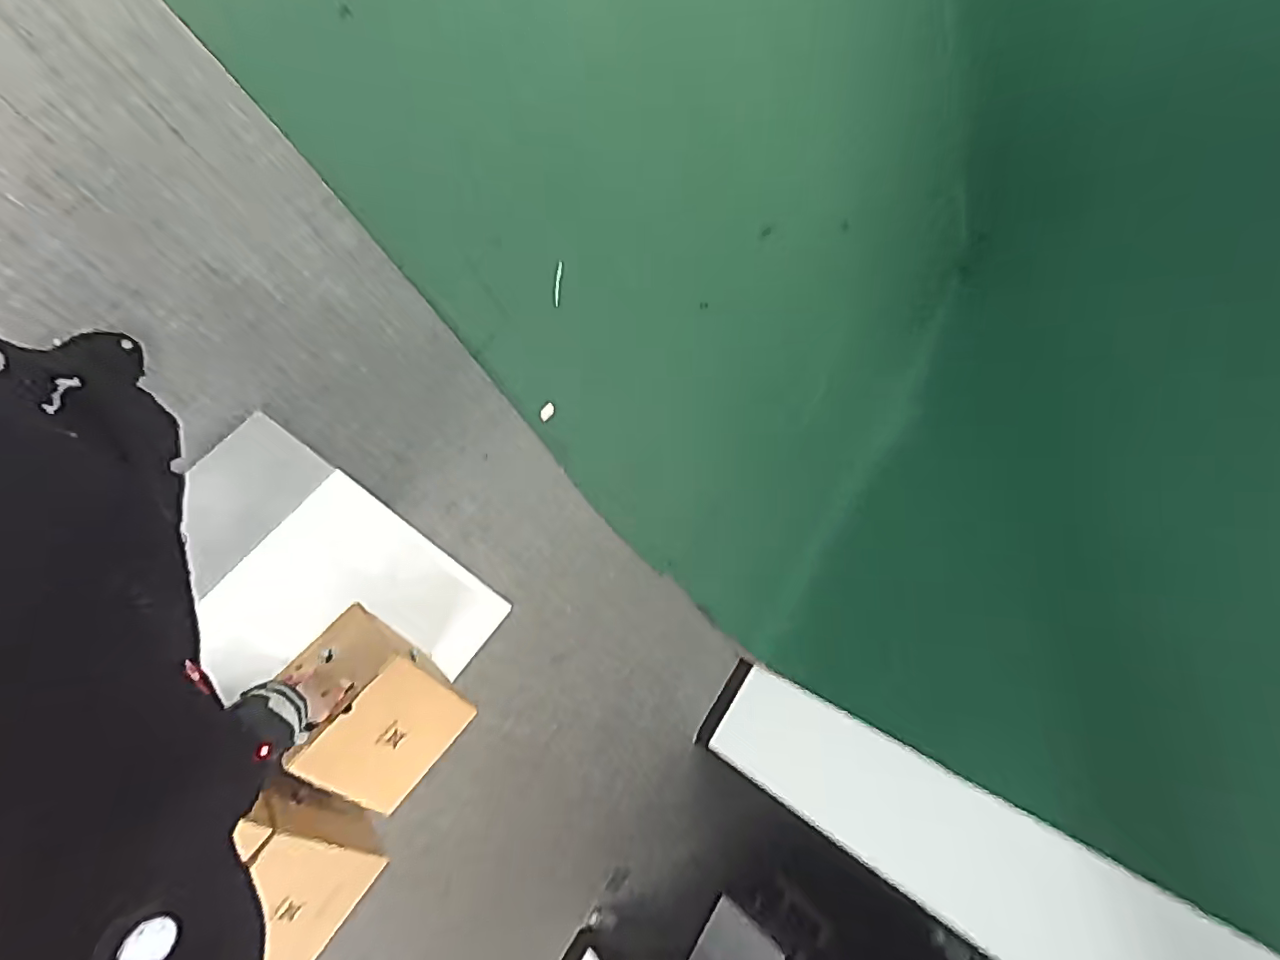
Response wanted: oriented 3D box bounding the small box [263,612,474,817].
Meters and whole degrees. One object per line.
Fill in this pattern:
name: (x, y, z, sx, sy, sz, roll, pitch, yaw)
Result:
small box: (-0.372, 0.312, 0.747, 0.168, 0.176, 0.179, -48, 131, -23)
